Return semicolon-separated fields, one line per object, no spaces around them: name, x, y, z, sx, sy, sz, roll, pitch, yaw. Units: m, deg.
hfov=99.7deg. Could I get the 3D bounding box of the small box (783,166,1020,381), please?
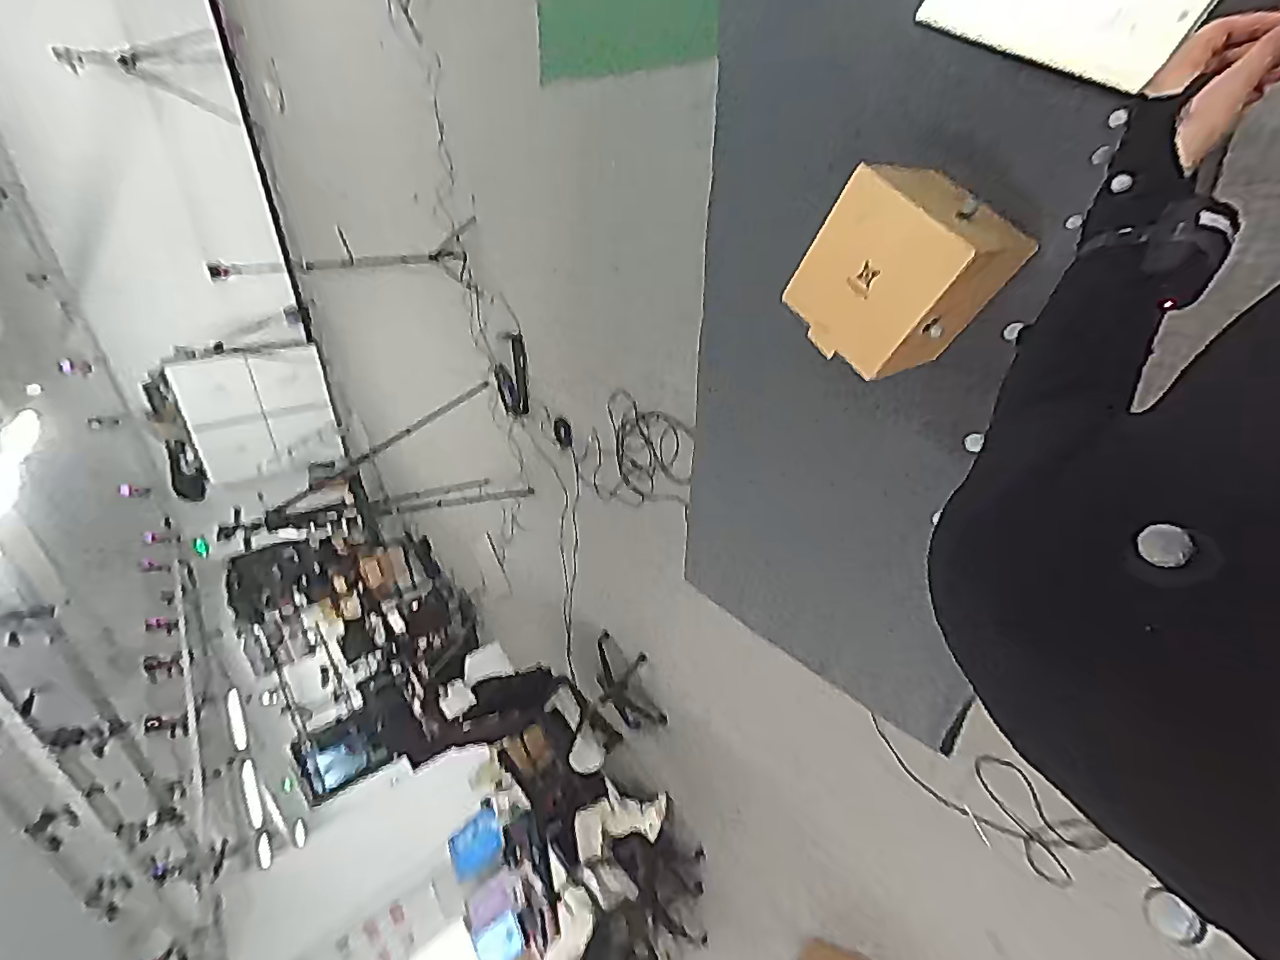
small box;0.319;-0.254;0.659;0.168;0.176;0.179;53;143;22
